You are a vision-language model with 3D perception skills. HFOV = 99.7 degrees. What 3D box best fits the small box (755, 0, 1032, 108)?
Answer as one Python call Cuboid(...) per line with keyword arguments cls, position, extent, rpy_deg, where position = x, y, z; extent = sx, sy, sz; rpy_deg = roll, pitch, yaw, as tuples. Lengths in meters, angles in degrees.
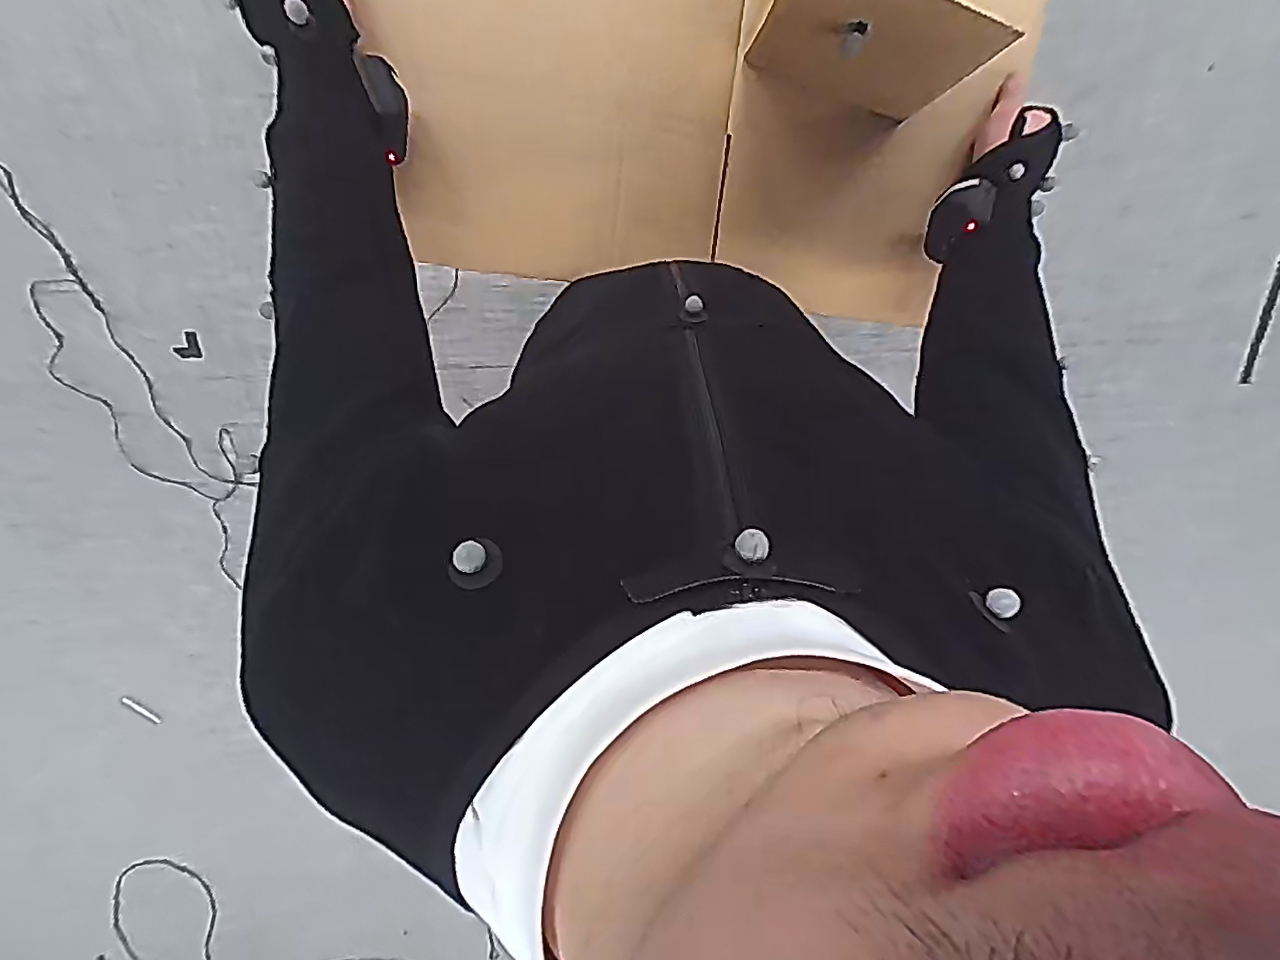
Cuboid(cls="small box", position=(0.214, -0.446, 0.444), extent=(0.179, 0.176, 0.168), rpy_deg=(15, 104, -7))
